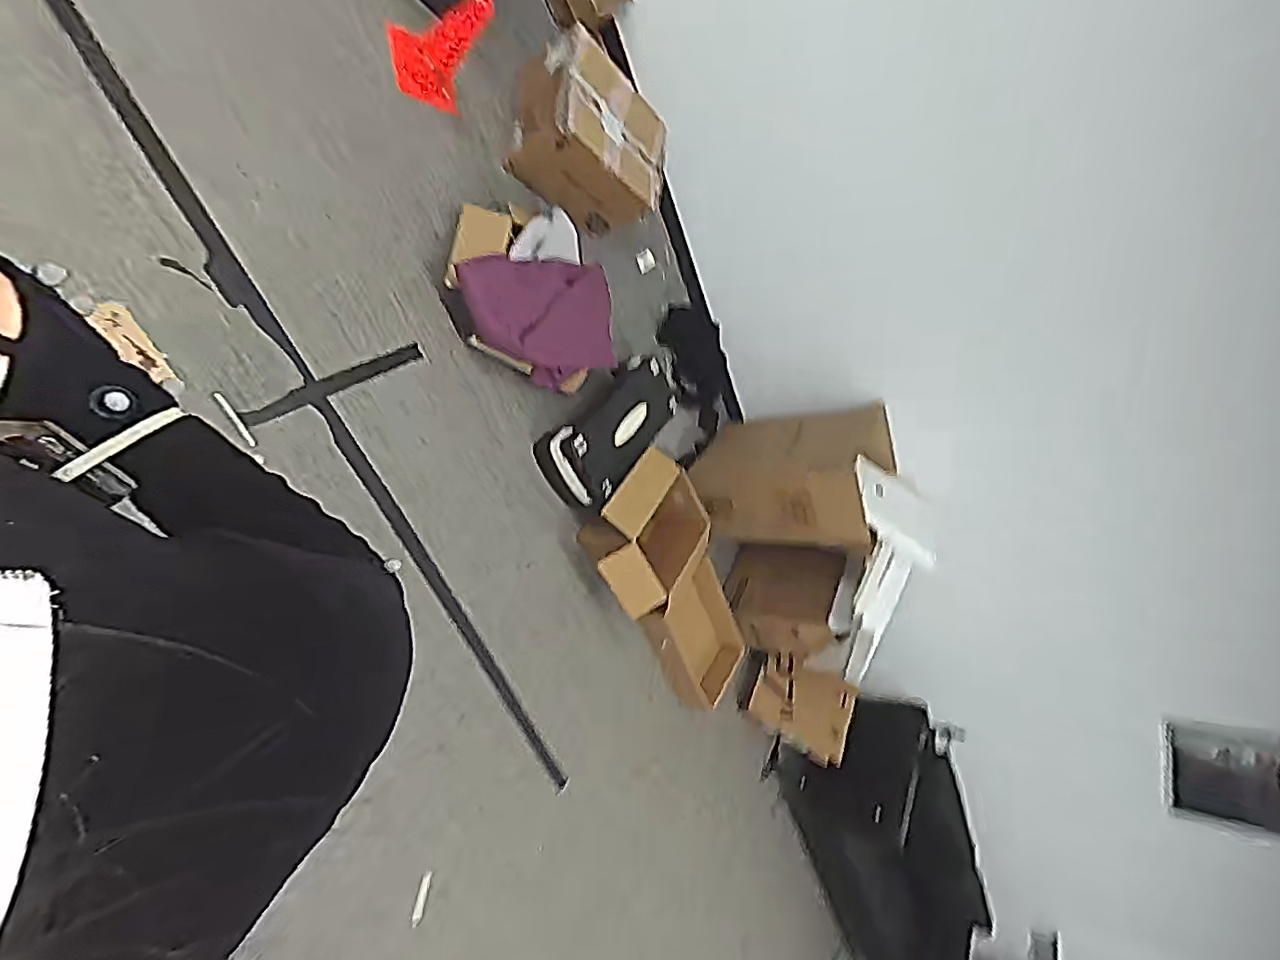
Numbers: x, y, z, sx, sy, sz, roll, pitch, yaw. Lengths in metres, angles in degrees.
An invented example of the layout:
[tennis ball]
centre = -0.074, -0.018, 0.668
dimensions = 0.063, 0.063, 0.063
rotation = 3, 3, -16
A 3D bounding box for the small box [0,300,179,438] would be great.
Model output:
[small box]
centre = -0.946, -0.184, 0.922
dimensions = 0.179, 0.176, 0.168
rotation = -43, 118, -43
